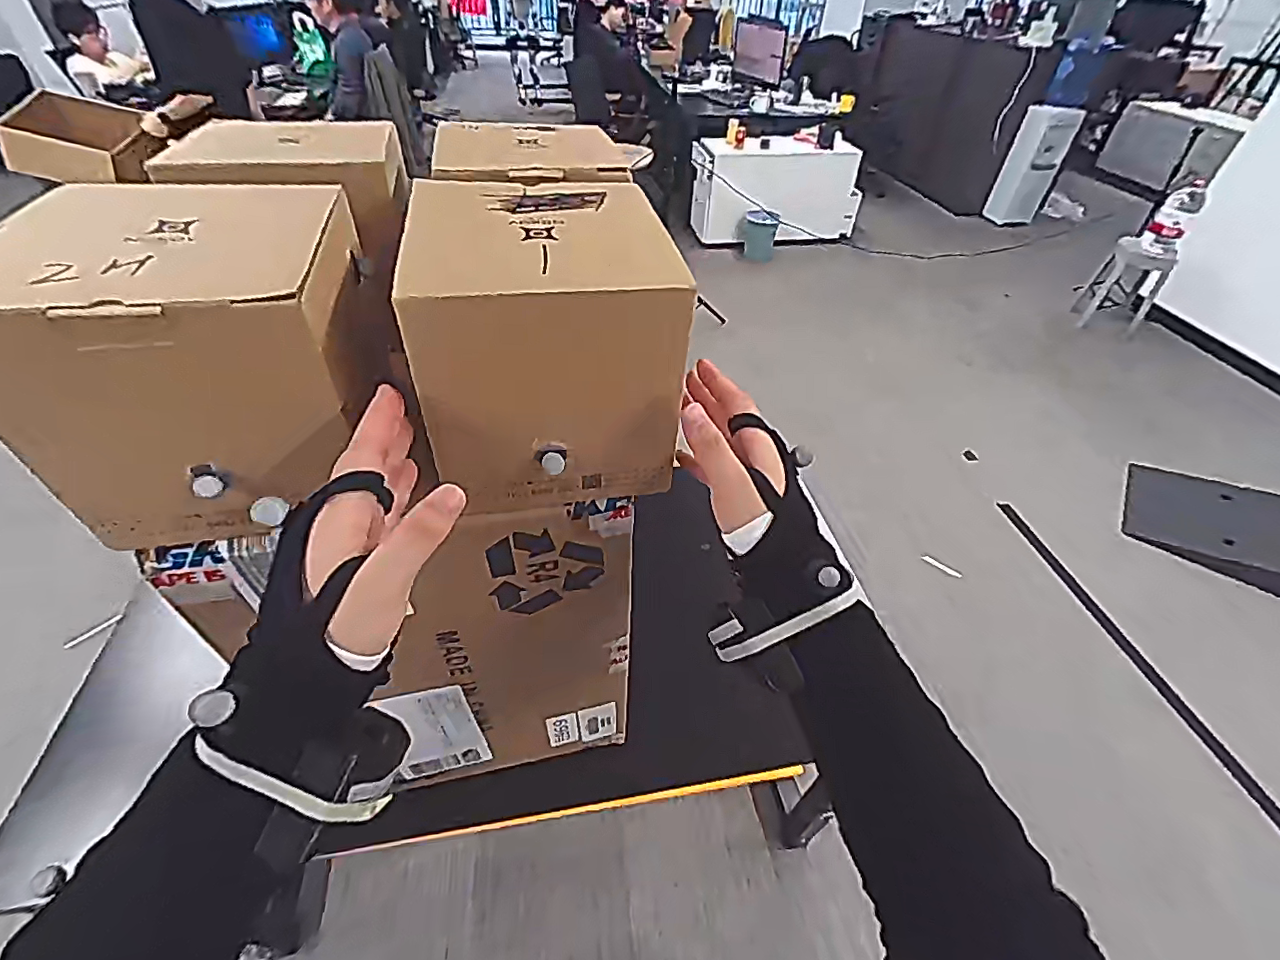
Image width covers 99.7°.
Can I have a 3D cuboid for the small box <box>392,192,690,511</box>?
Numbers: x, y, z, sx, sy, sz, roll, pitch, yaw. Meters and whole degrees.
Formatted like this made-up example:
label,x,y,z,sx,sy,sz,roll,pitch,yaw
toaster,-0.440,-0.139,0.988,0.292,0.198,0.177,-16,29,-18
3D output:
label,x,y,z,sx,sy,sz,roll,pitch,yaw
small box,-0.072,-0.100,0.409,0.168,0.176,0.179,-6,46,-11
